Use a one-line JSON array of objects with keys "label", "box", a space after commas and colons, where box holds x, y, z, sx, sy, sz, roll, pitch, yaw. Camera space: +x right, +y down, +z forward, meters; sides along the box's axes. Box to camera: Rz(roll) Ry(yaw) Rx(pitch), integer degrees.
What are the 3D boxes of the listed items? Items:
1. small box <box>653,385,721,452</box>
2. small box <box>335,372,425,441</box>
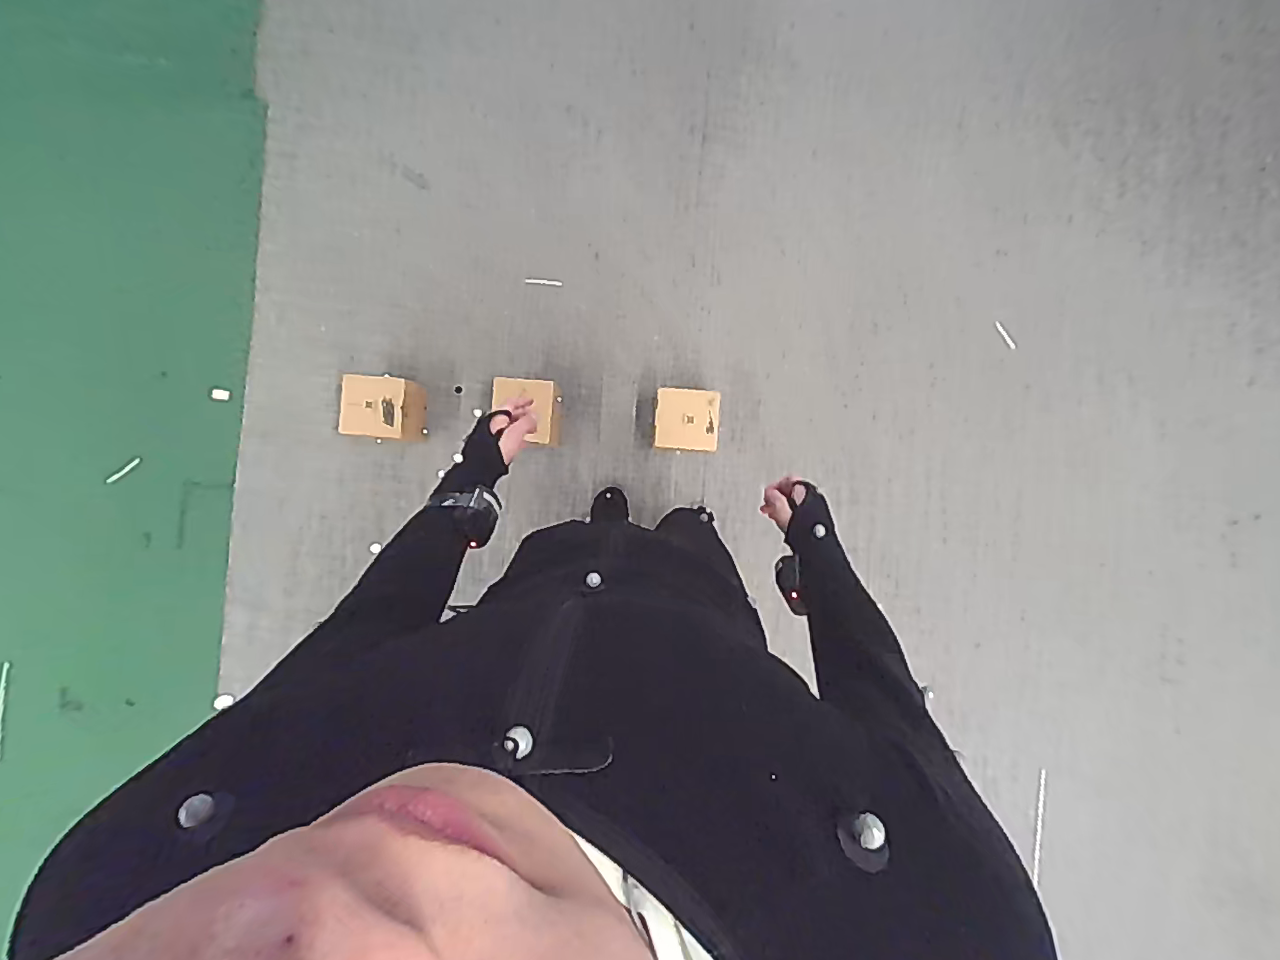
[{"label": "small box", "box": [0.128, -0.170, 1.543, 0.179, 0.176, 0.168, 4, 90, 0]}, {"label": "small box", "box": [-0.730, -0.203, 1.536, 0.179, 0.176, 0.168, 5, 89, 1]}]
